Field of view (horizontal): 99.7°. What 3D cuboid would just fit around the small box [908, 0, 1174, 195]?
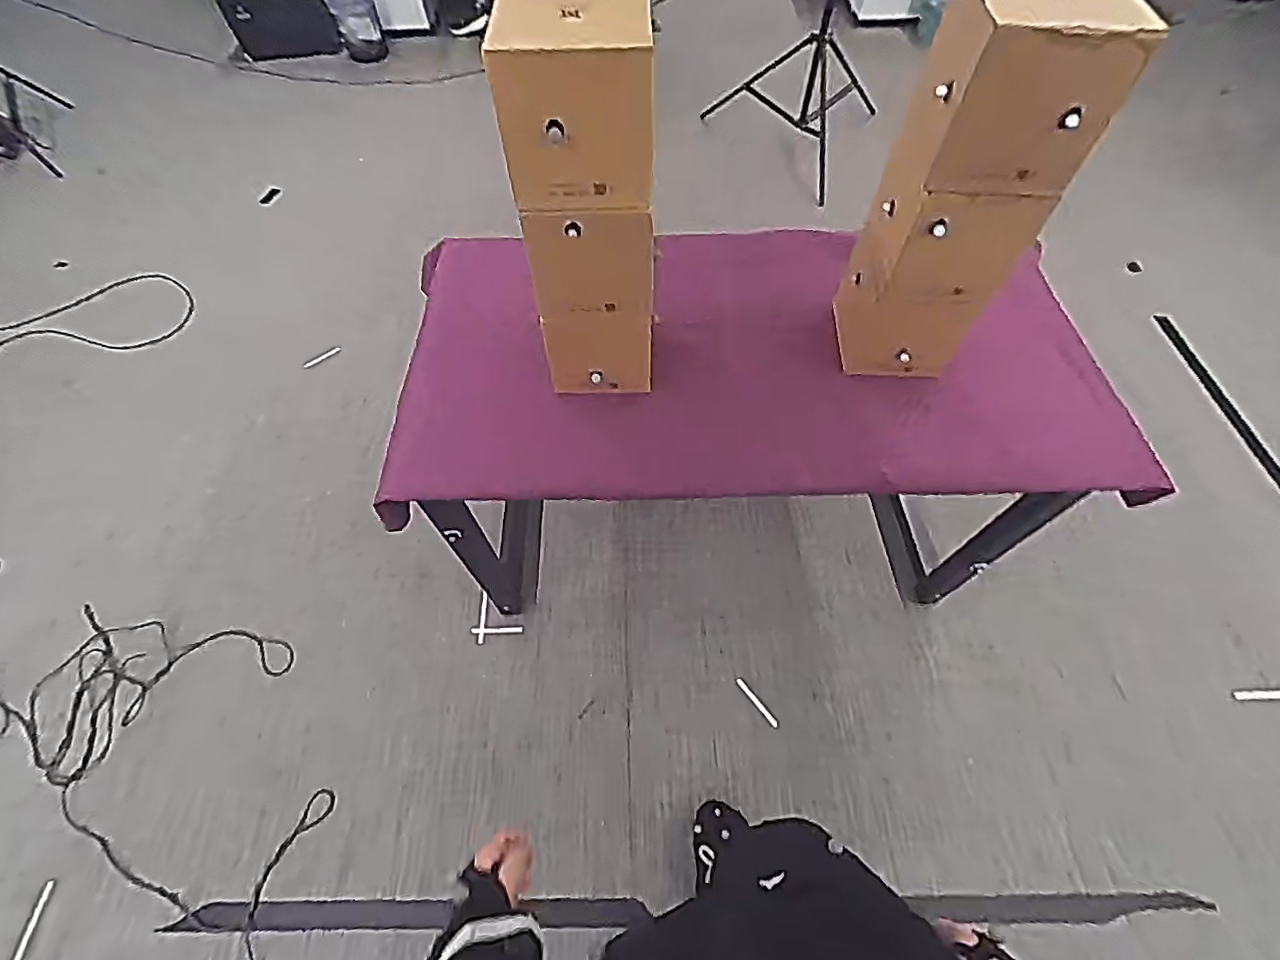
[{"bbox_3d":[0.437,-0.457,0.628,0.168,0.176,0.179,5,58,3],"label":"small box"}]

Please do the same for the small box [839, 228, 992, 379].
[{"bbox_3d":[0.446,-0.294,0.911,0.168,0.176,0.179,3,59,4],"label":"small box"}]

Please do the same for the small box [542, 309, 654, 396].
[{"bbox_3d":[-0.061,-0.262,0.900,0.168,0.176,0.179,0,60,1],"label":"small box"}]

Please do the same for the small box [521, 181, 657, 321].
[{"bbox_3d":[-0.062,-0.348,0.760,0.168,0.176,0.179,-1,59,1],"label":"small box"}]

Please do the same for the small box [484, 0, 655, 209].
[{"bbox_3d":[-0.067,-0.434,0.622,0.168,0.176,0.179,-2,59,0],"label":"small box"}]
